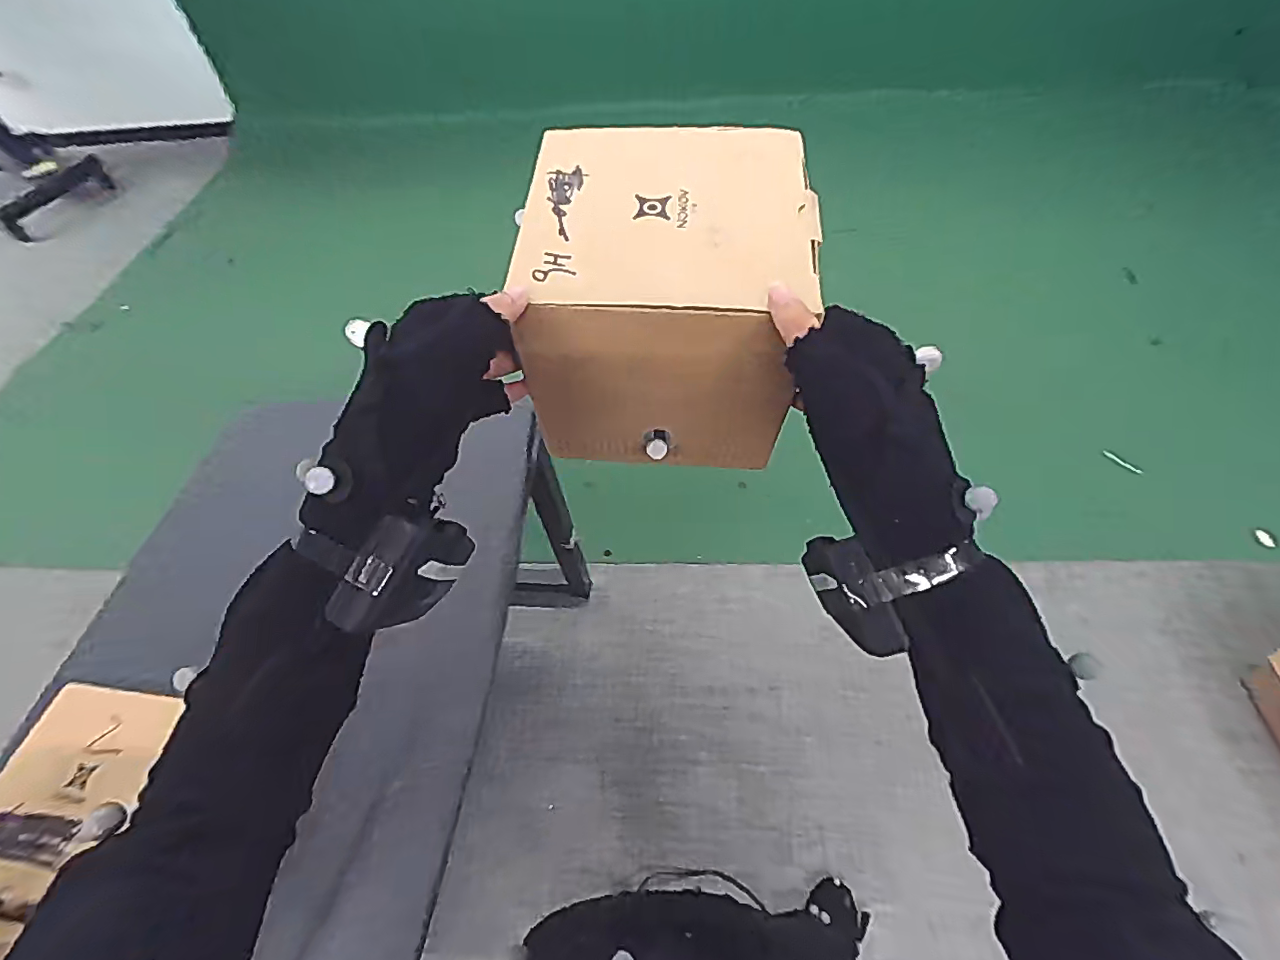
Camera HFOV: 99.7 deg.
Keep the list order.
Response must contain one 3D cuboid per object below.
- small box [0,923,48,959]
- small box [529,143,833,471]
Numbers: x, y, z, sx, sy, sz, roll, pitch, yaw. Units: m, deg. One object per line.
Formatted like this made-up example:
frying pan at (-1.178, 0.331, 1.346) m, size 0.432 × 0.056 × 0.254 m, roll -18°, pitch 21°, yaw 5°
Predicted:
small box at (-0.559, 0.390, 0.343) m, size 0.168 × 0.176 × 0.179 m, roll 3°, pitch 54°, yaw 6°
small box at (0.028, -0.120, 0.412) m, size 0.179 × 0.176 × 0.168 m, roll 5°, pitch 60°, yaw 2°
